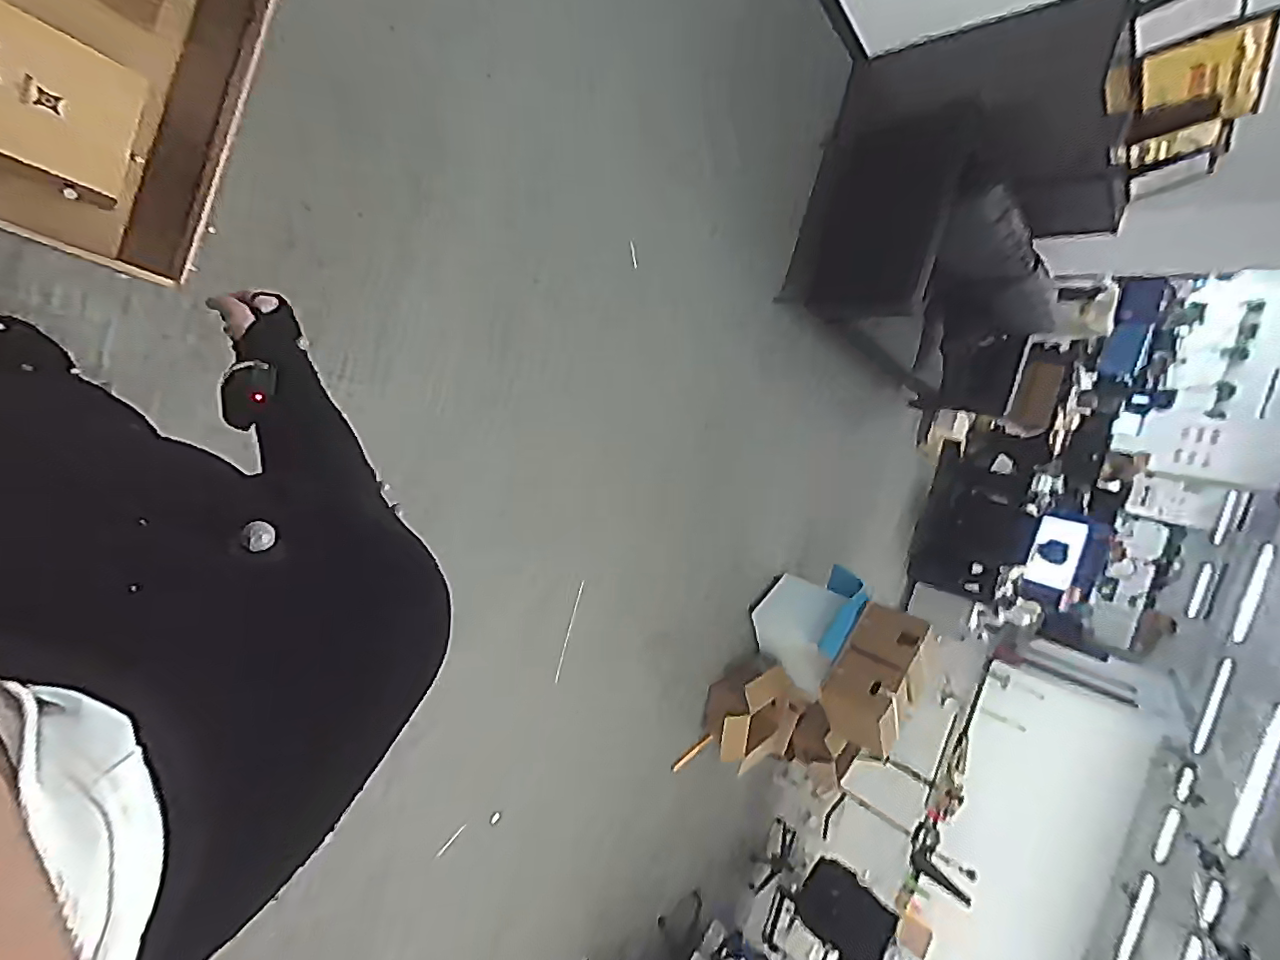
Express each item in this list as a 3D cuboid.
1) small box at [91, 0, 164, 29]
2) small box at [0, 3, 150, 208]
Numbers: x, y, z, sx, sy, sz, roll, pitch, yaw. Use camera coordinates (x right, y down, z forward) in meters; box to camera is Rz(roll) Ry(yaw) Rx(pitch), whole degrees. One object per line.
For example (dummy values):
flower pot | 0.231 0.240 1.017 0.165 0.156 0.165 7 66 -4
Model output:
small box | -0.713 -0.744 0.699 0.179 0.176 0.168 21 89 -49
small box | -0.786 -0.480 0.708 0.179 0.176 0.168 15 92 -48
